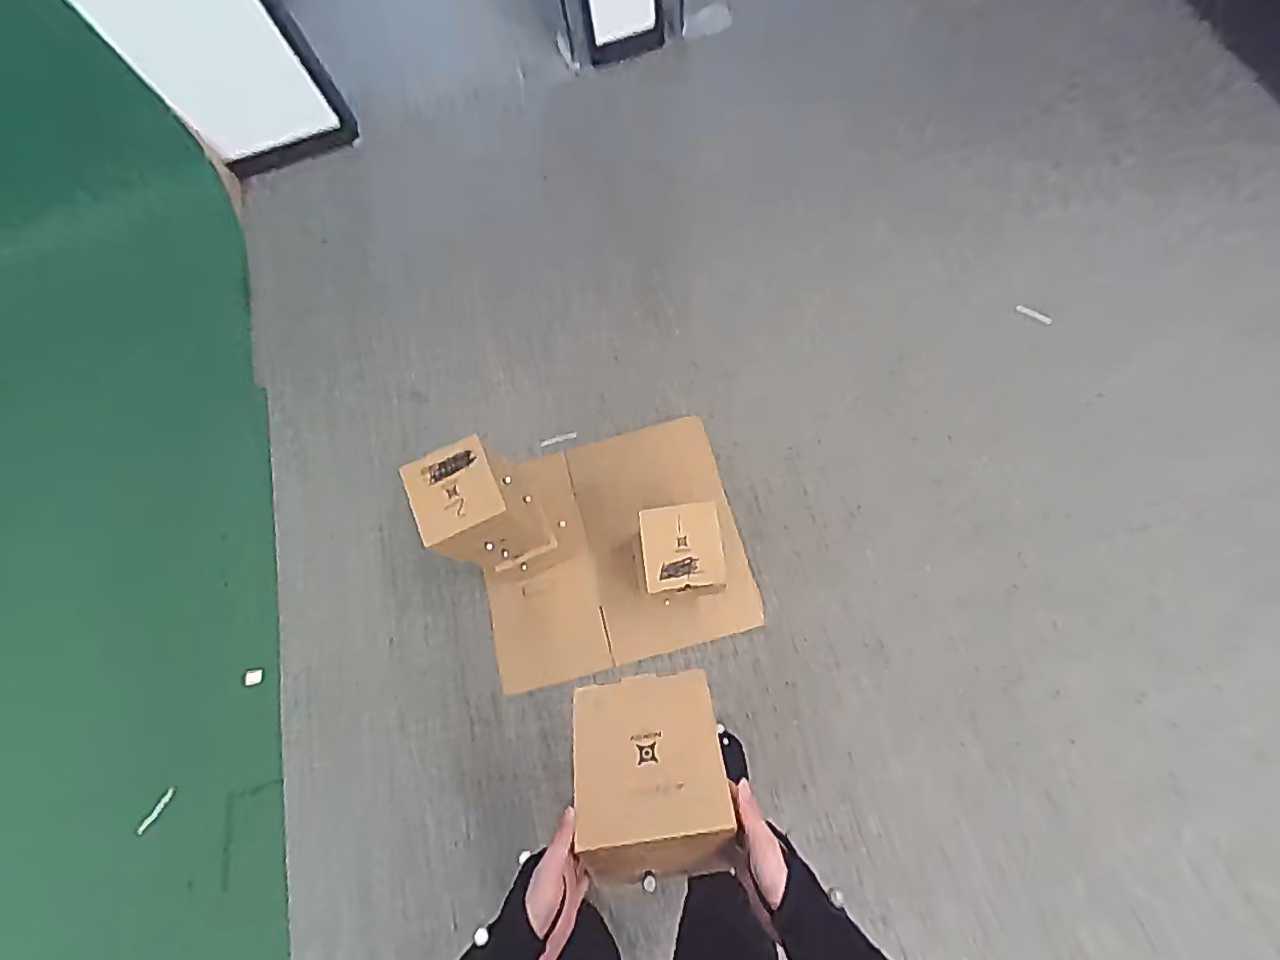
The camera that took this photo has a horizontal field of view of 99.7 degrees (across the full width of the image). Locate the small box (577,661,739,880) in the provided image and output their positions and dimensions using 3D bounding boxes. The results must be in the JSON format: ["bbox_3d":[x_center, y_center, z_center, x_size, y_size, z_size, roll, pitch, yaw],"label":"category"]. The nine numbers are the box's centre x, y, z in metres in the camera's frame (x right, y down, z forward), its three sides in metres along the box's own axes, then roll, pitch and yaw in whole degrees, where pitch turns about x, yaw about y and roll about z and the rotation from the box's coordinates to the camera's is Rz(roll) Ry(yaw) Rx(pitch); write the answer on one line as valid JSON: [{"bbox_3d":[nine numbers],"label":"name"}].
[{"bbox_3d":[0.018,0.349,0.653,0.168,0.176,0.179,-9,42,0],"label":"small box"}]

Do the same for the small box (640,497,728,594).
[{"bbox_3d":[0.098,0.149,1.173,0.168,0.176,0.179,-8,70,4],"label":"small box"}]

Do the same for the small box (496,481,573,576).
[{"bbox_3d":[-0.288,0.130,1.400,0.168,0.176,0.179,-23,71,-1],"label":"small box"}]

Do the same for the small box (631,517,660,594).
[{"bbox_3d":[0.081,0.182,1.339,0.168,0.176,0.179,-12,71,3],"label":"small box"}]

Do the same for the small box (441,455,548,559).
[{"bbox_3d":[-0.329,0.072,1.249,0.168,0.176,0.179,-22,71,-2],"label":"small box"}]
